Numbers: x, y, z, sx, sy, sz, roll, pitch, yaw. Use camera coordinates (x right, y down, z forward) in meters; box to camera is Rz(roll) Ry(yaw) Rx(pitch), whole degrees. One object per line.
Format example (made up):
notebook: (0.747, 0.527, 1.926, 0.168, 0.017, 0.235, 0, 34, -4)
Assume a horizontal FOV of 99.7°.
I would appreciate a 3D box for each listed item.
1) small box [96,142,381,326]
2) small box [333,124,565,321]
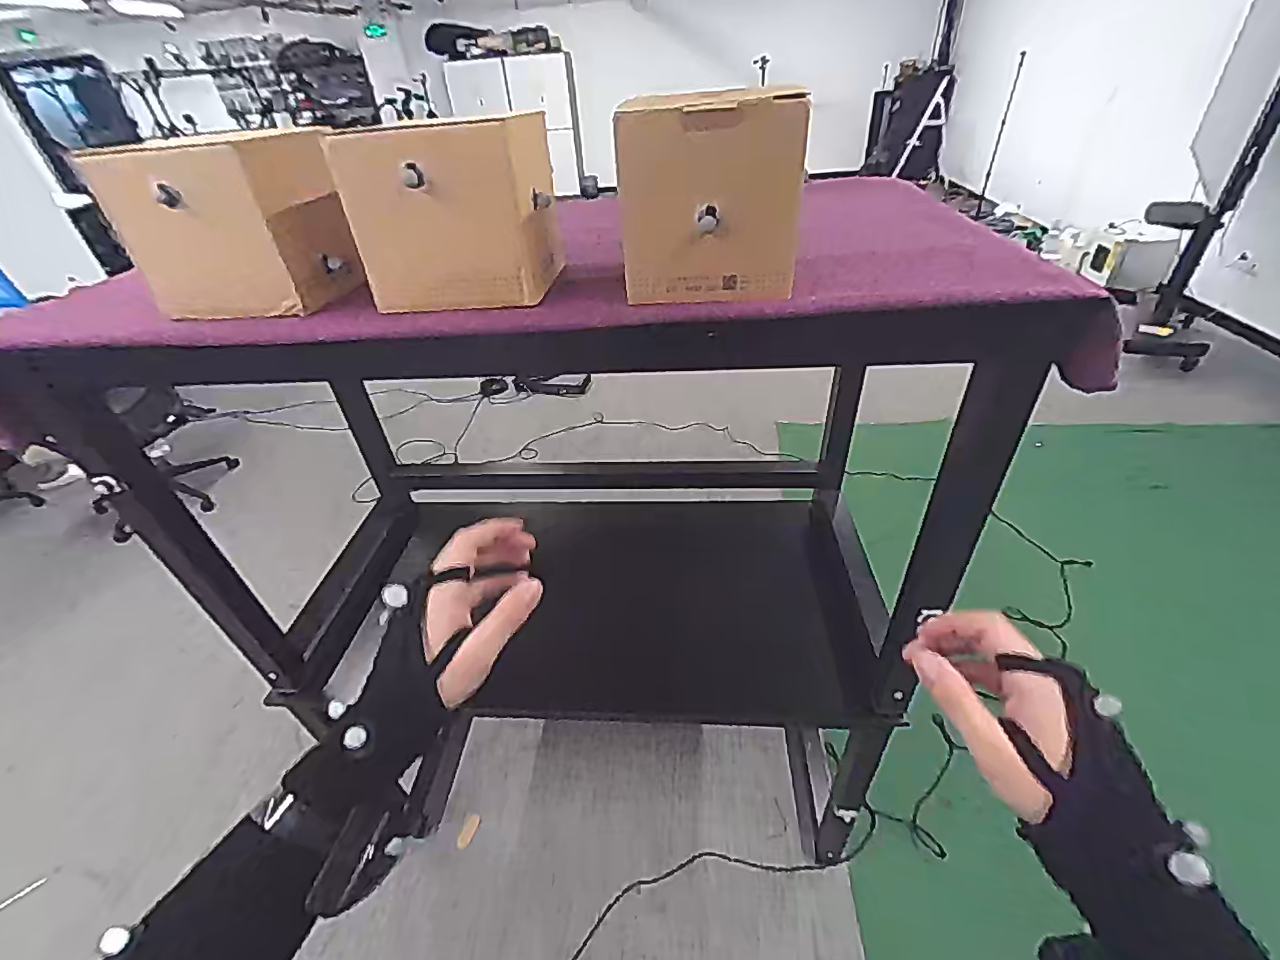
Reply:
small box: (-0.442, -0.287, 0.633, 0.179, 0.176, 0.168, 1, 36, 7)
small box: (-0.190, -0.288, 0.606, 0.179, 0.176, 0.168, -2, 35, 6)
